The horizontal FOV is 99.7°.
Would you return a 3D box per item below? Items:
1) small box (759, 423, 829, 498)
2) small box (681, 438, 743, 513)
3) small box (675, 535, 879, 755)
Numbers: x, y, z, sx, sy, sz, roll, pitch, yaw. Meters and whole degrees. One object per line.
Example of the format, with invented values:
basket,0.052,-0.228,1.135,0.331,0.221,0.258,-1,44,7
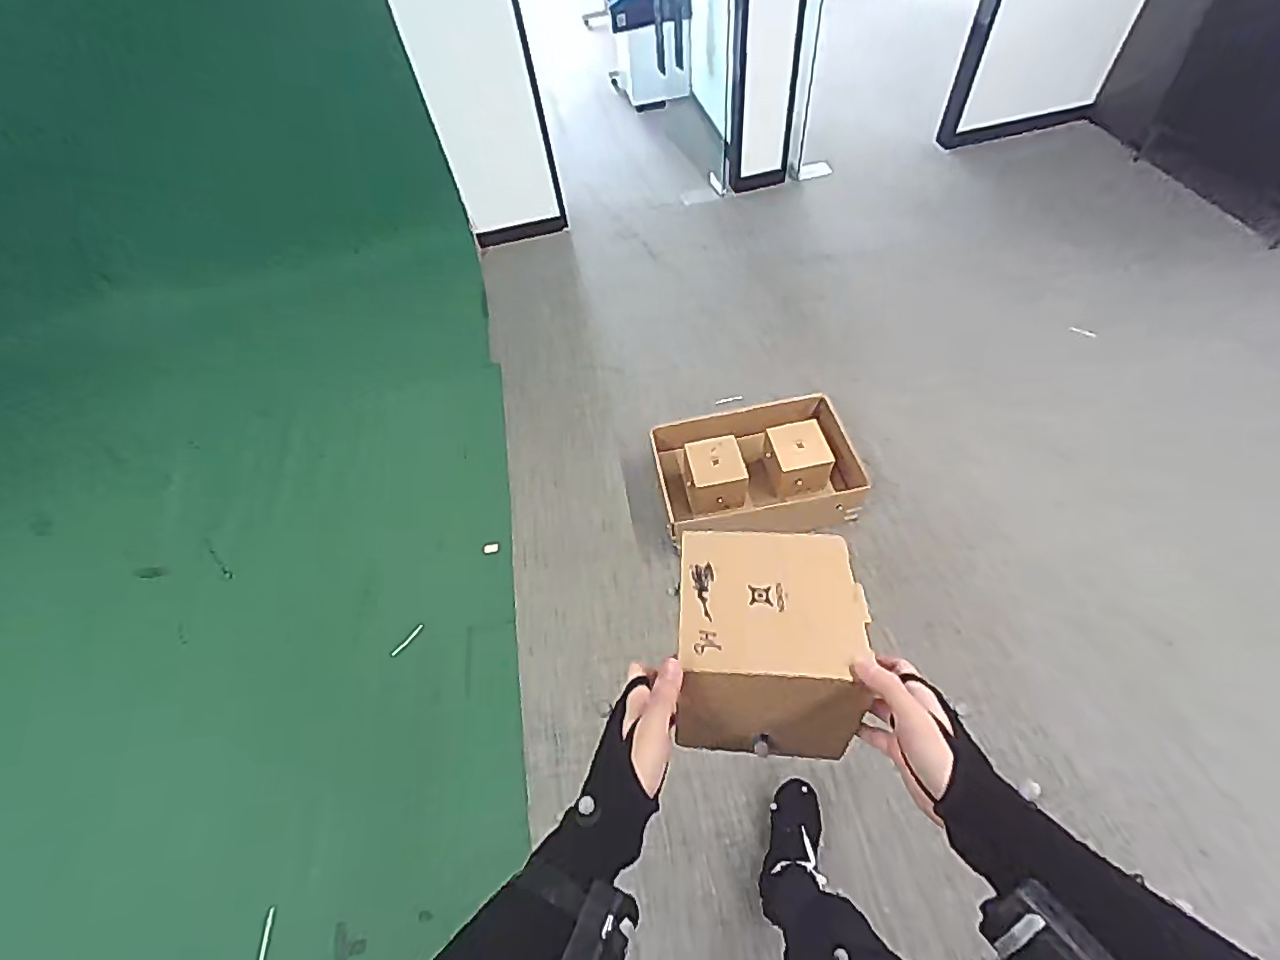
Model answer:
small box,0.495,-0.055,1.764,0.168,0.176,0.179,-12,55,-1
small box,0.231,-0.006,1.755,0.168,0.176,0.179,-10,55,-2
small box,0.132,0.180,0.590,0.179,0.176,0.168,2,41,4
